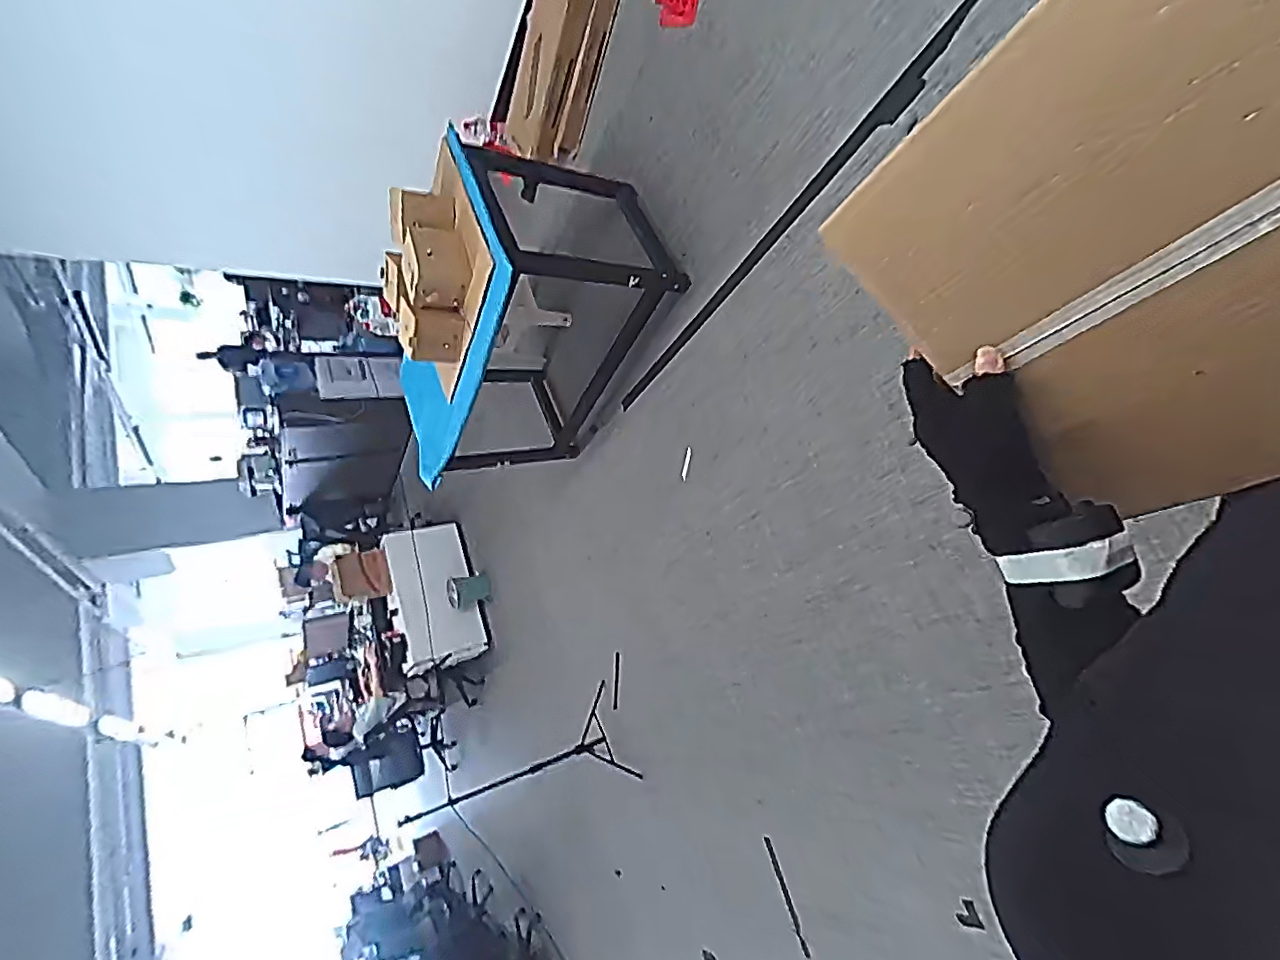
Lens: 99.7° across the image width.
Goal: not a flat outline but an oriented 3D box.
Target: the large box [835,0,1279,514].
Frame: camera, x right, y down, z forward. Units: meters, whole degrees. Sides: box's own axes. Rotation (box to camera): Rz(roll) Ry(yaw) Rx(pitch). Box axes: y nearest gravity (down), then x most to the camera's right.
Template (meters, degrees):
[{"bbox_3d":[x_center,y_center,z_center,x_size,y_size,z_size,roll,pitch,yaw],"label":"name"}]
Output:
[{"bbox_3d":[0.423,-0.241,0.359,0.320,0.320,0.408,46,143,-4],"label":"large box"}]
